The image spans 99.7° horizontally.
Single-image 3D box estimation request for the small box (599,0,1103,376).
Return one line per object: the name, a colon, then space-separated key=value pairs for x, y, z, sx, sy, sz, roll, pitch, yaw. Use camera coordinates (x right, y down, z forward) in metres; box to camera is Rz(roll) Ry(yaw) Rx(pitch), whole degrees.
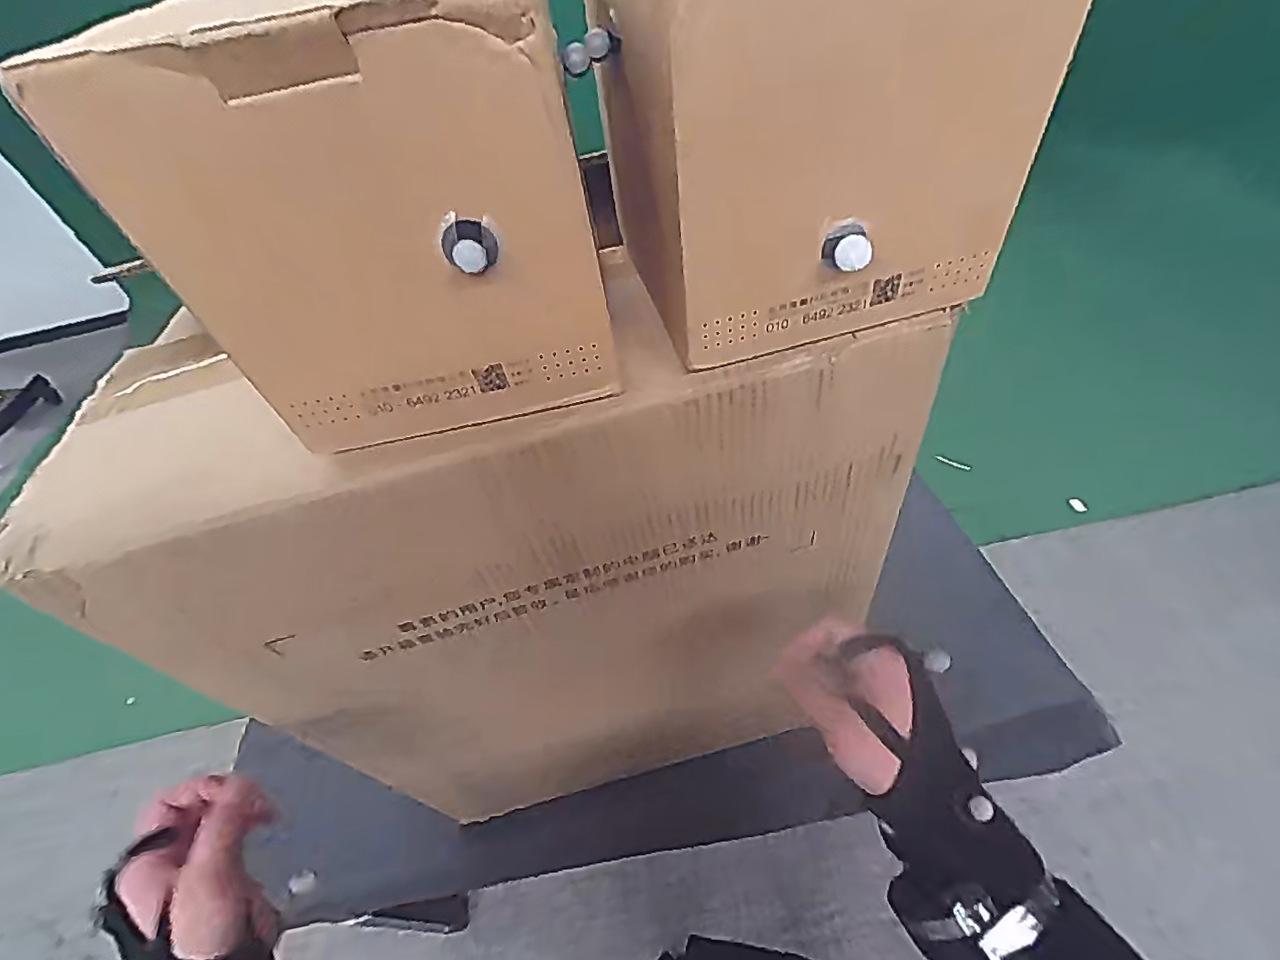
small box: x=0.078 y=-0.183 z=0.285 sx=0.168 sy=0.176 sz=0.179 roll=-15 pitch=49 yaw=-3
